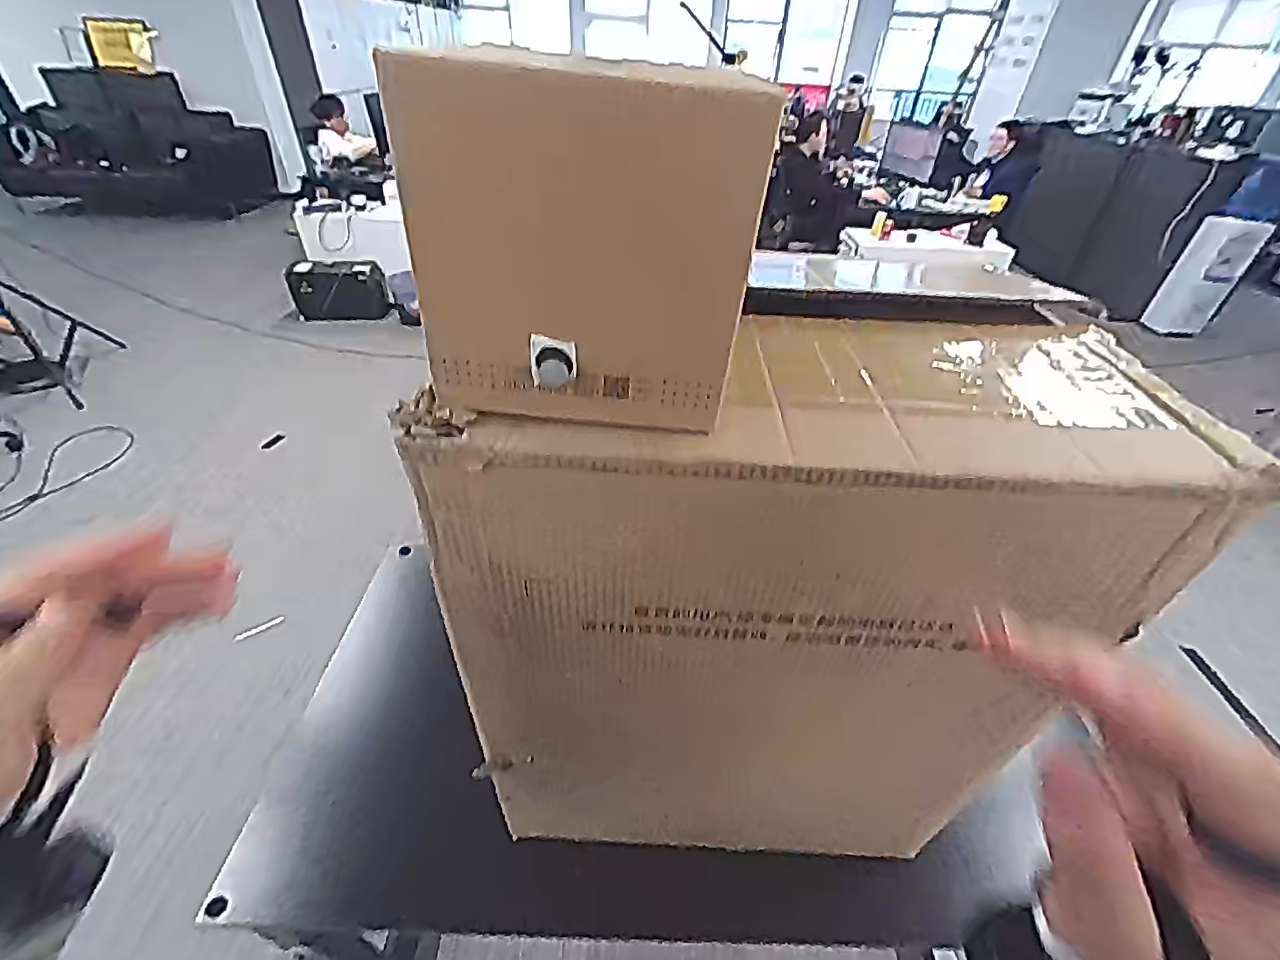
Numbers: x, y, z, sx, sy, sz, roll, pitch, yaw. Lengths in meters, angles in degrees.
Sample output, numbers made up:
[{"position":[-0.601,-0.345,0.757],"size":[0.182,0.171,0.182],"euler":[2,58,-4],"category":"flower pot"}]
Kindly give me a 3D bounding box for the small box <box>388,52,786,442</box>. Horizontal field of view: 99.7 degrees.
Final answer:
[{"position":[-0.026,-0.145,0.331],"size":[0.168,0.176,0.179],"euler":[3,40,-2],"category":"small box"}]
